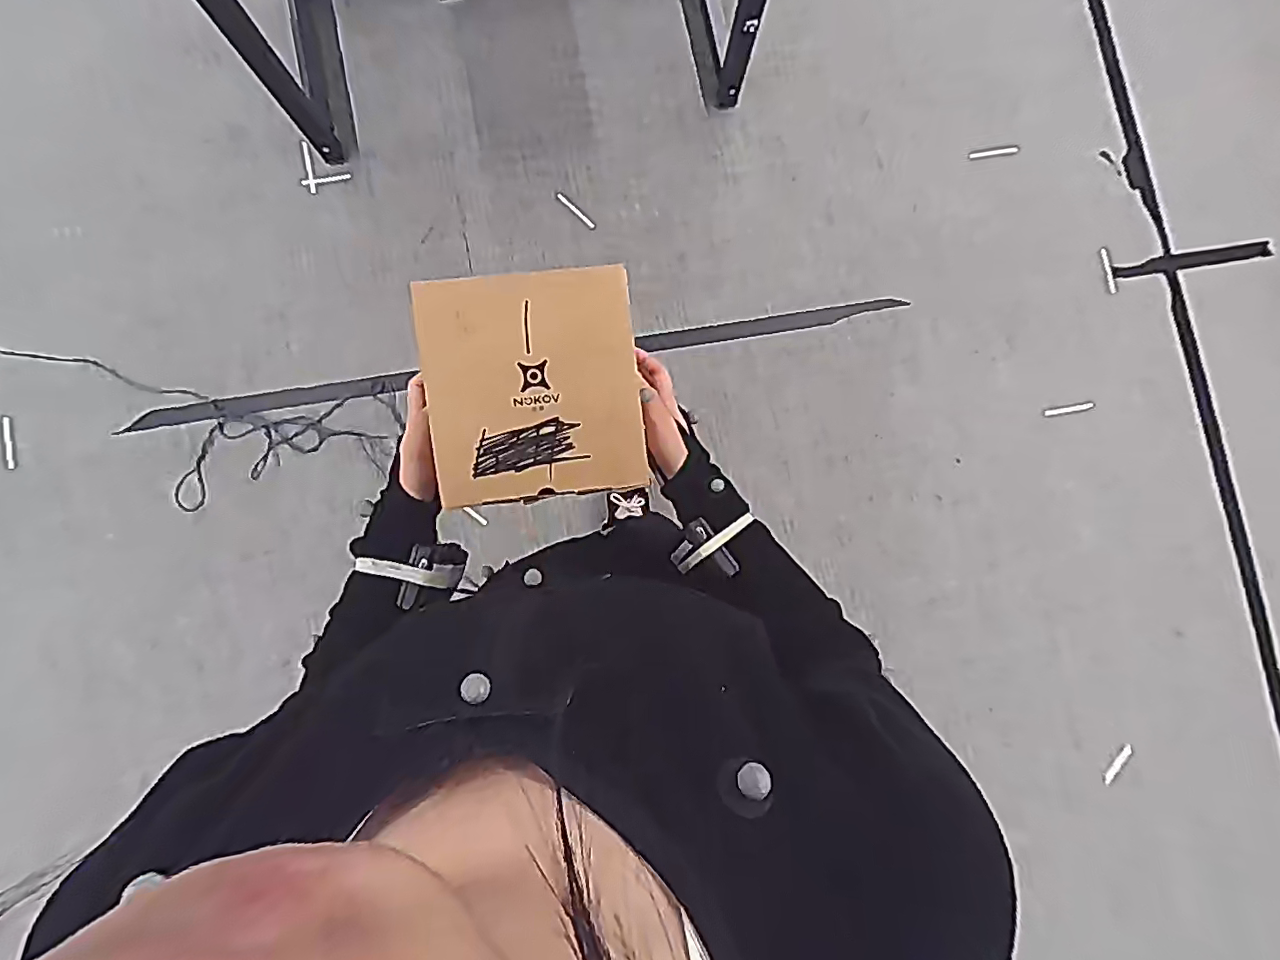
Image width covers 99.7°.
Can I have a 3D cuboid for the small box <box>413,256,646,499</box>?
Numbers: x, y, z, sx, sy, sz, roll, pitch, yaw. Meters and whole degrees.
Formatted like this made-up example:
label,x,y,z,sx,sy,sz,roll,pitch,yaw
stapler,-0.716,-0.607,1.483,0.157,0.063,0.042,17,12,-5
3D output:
label,x,y,z,sx,sy,sz,roll,pitch,yaw
small box,-0.088,-0.085,0.494,0.168,0.176,0.179,-6,94,-5
